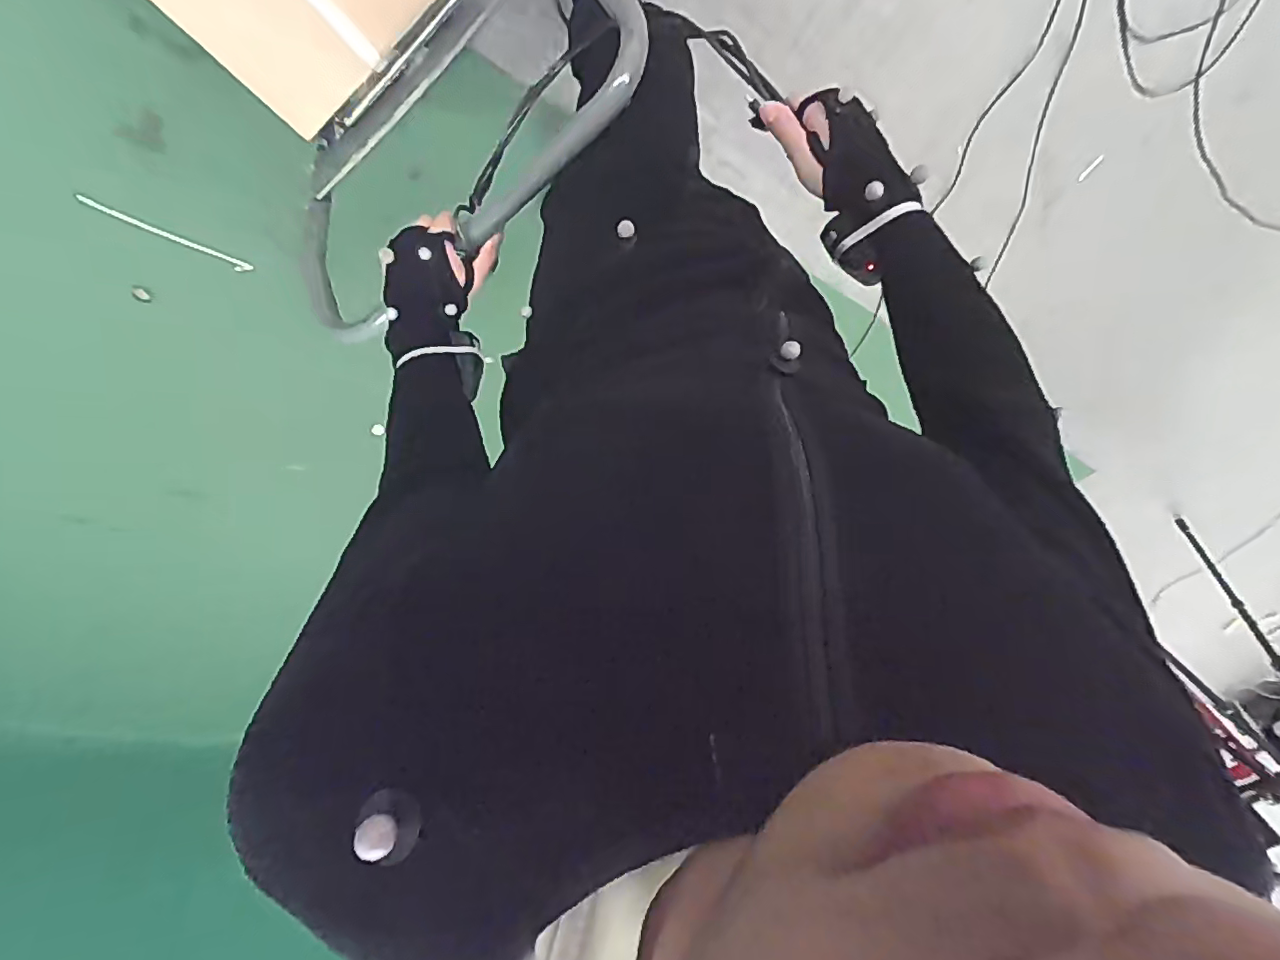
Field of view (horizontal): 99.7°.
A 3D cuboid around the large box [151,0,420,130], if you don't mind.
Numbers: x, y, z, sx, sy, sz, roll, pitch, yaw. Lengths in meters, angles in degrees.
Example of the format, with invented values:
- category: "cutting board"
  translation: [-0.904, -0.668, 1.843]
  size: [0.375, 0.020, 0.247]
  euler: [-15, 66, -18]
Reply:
- category: "large box"
  translation: [-0.509, -0.774, 0.689]
  size: [0.320, 0.320, 0.408]
  euler: [-32, 139, 17]
